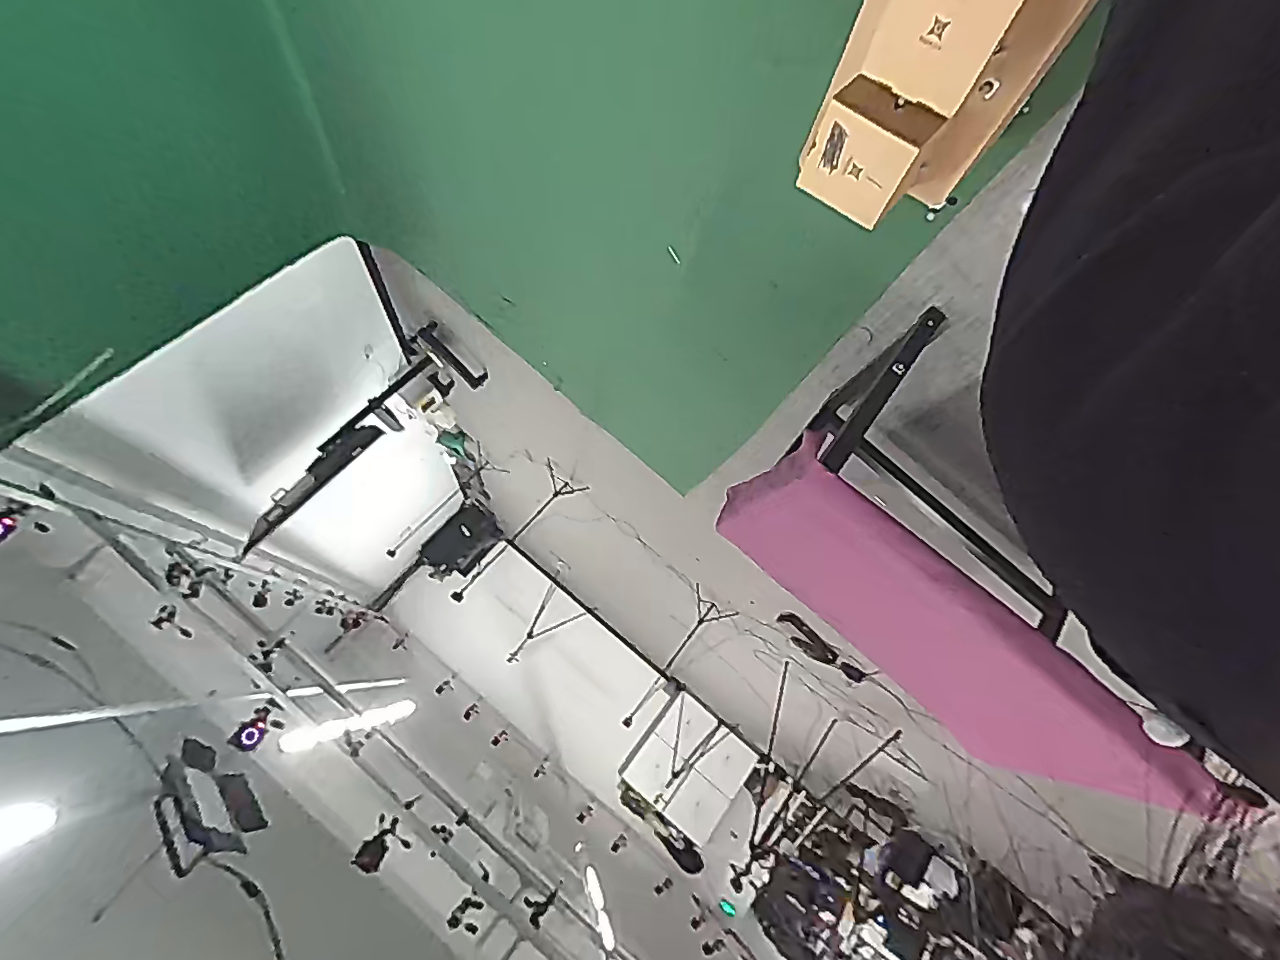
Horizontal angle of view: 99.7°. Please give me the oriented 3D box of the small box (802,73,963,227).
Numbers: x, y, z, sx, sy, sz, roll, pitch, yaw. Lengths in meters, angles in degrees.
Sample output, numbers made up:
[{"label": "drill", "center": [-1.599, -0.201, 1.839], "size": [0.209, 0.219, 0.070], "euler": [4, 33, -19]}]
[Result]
[{"label": "small box", "center": [0.439, -0.613, 0.990], "size": [0.179, 0.176, 0.168], "euler": [38, 159, 10]}]

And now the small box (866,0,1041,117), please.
[{"label": "small box", "center": [0.474, -0.688, 0.788], "size": [0.168, 0.176, 0.179], "euler": [37, 157, 11]}]
